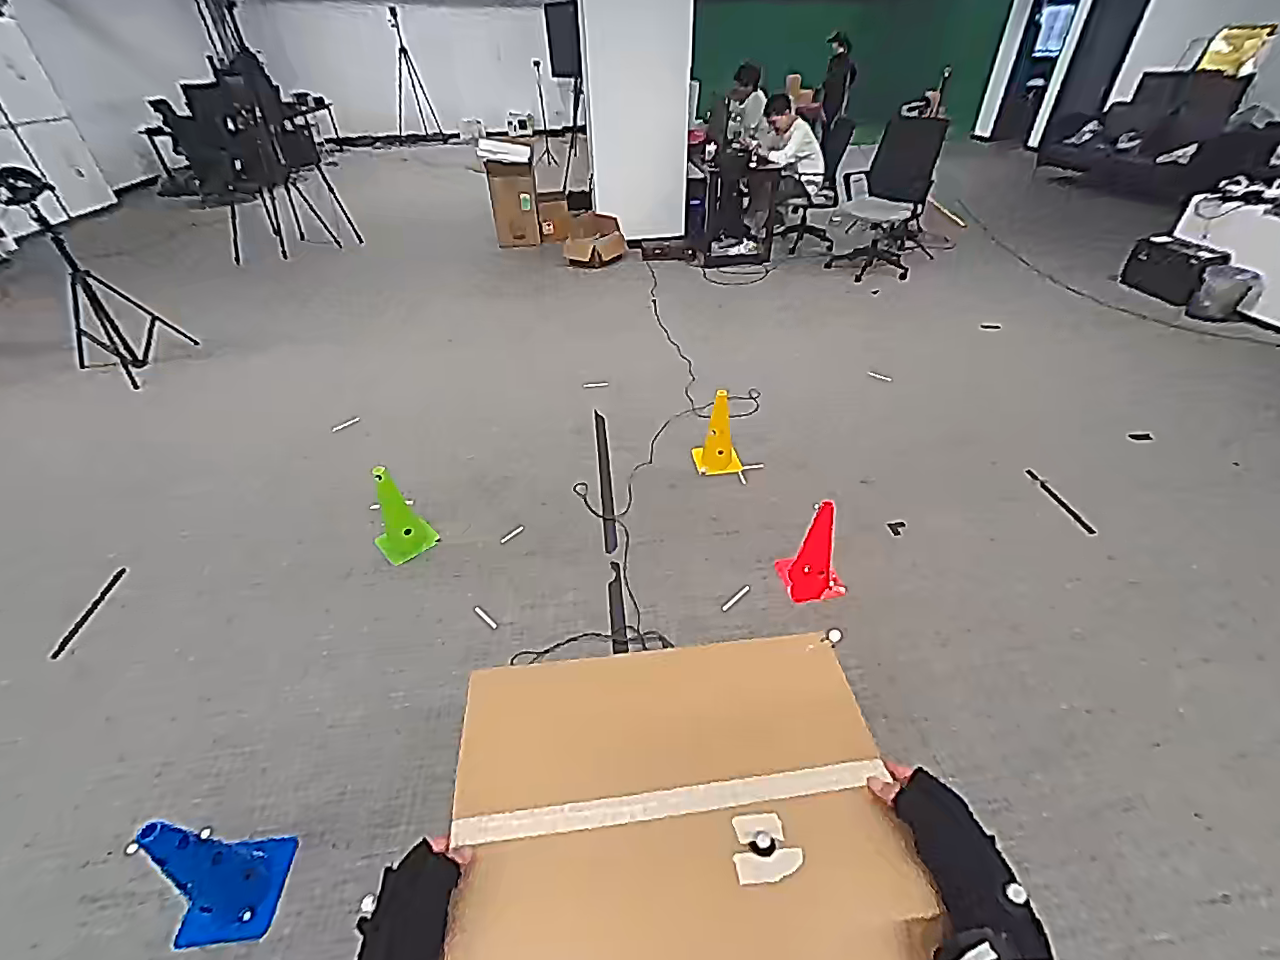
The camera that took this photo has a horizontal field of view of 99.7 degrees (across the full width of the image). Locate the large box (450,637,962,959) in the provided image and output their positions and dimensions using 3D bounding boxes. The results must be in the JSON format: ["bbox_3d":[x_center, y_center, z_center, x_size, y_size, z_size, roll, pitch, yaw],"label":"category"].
[{"bbox_3d":[0.033,0.414,0.599,0.408,0.320,0.320,-5,42,-6],"label":"large box"}]

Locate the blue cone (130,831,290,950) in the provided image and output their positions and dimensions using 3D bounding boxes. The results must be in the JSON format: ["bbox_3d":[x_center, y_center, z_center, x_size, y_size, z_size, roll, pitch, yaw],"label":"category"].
[{"bbox_3d":[-0.938,0.833,1.152,0.192,0.380,0.193,-5,39,-1],"label":"blue cone"}]

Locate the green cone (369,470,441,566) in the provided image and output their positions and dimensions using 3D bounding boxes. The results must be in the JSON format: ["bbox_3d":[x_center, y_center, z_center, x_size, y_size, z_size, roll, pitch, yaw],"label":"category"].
[{"bbox_3d":[-0.923,0.109,2.022,0.202,0.368,0.200,-34,48,-31],"label":"green cone"}]

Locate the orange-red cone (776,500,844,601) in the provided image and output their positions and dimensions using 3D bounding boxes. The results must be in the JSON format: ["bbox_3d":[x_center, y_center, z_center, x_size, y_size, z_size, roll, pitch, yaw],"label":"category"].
[{"bbox_3d":[0.598,0.212,1.826,0.198,0.360,0.199,-7,38,-7],"label":"orange-red cone"}]
